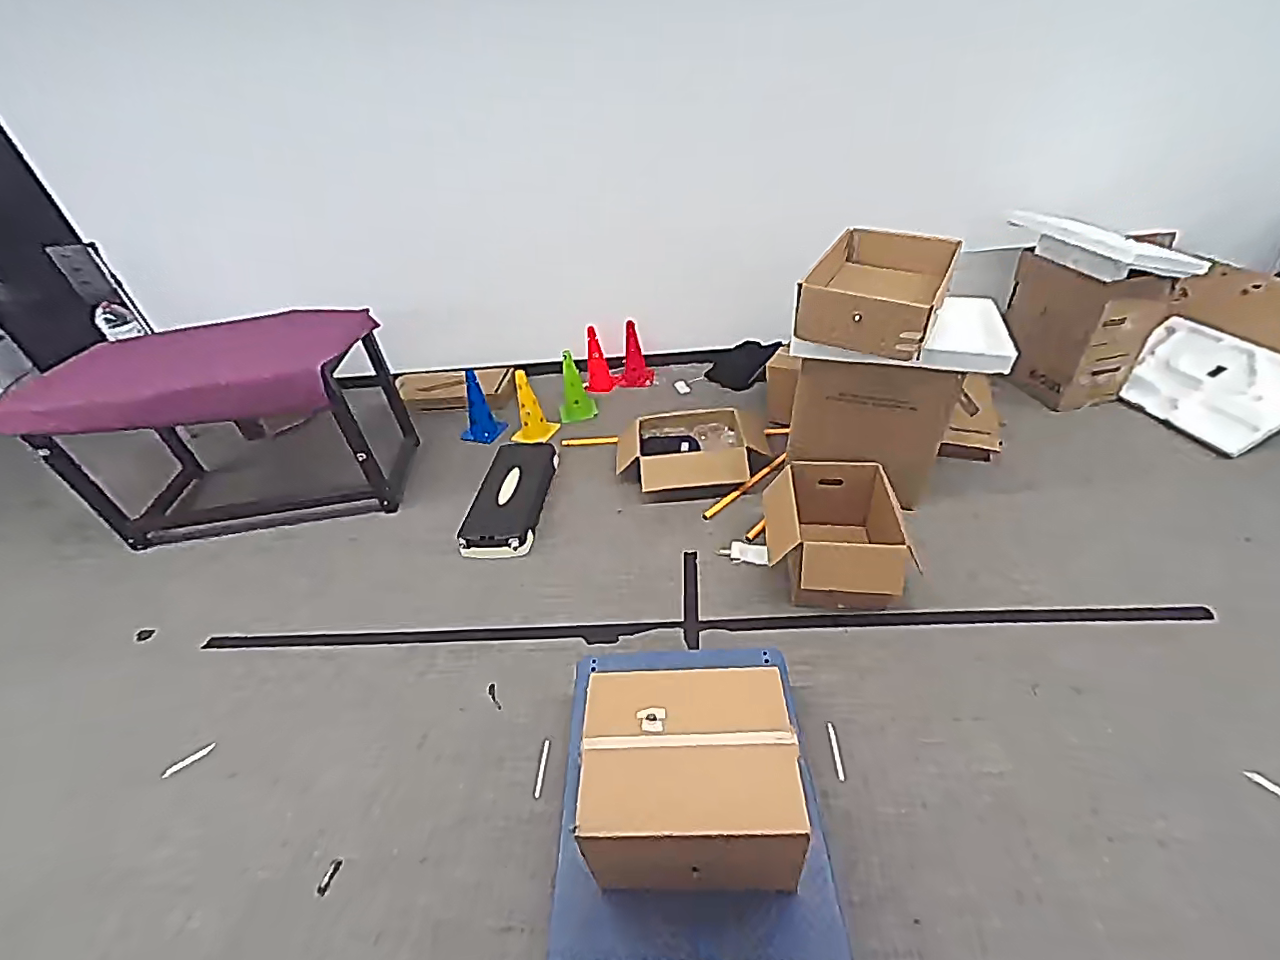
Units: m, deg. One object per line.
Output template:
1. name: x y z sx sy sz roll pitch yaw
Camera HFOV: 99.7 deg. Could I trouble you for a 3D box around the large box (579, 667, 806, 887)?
1. large box: 0.107 0.629 1.144 0.408 0.320 0.320 -5 38 5
